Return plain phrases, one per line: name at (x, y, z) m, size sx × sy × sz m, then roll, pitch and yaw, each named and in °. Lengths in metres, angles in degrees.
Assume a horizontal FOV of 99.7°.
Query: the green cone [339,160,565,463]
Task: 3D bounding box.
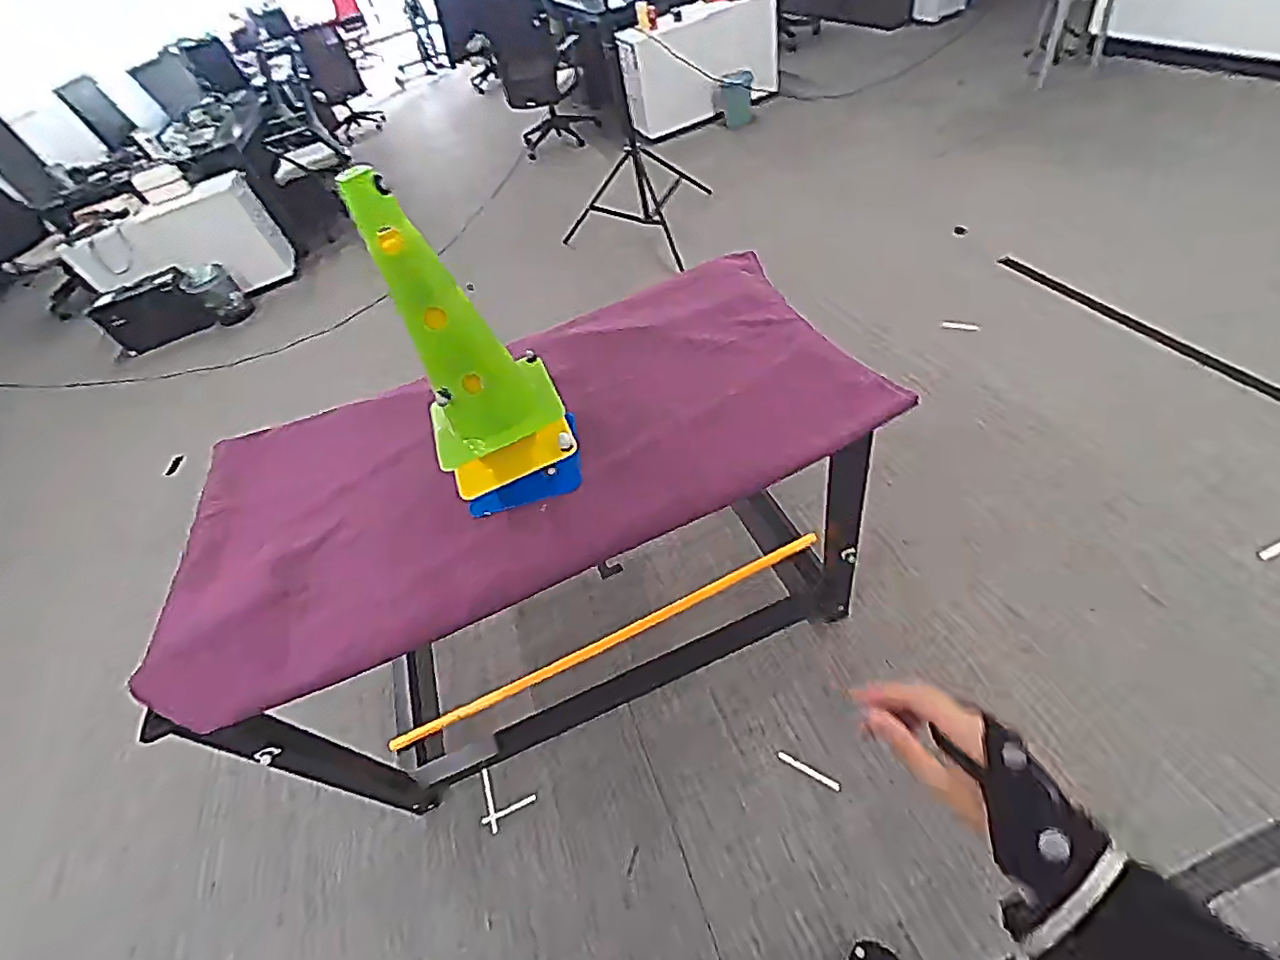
green cone at (-0.274, -0.231, 0.728) m, size 0.200 × 0.368 × 0.202 m, roll -27°, pitch 47°, yaw -4°
